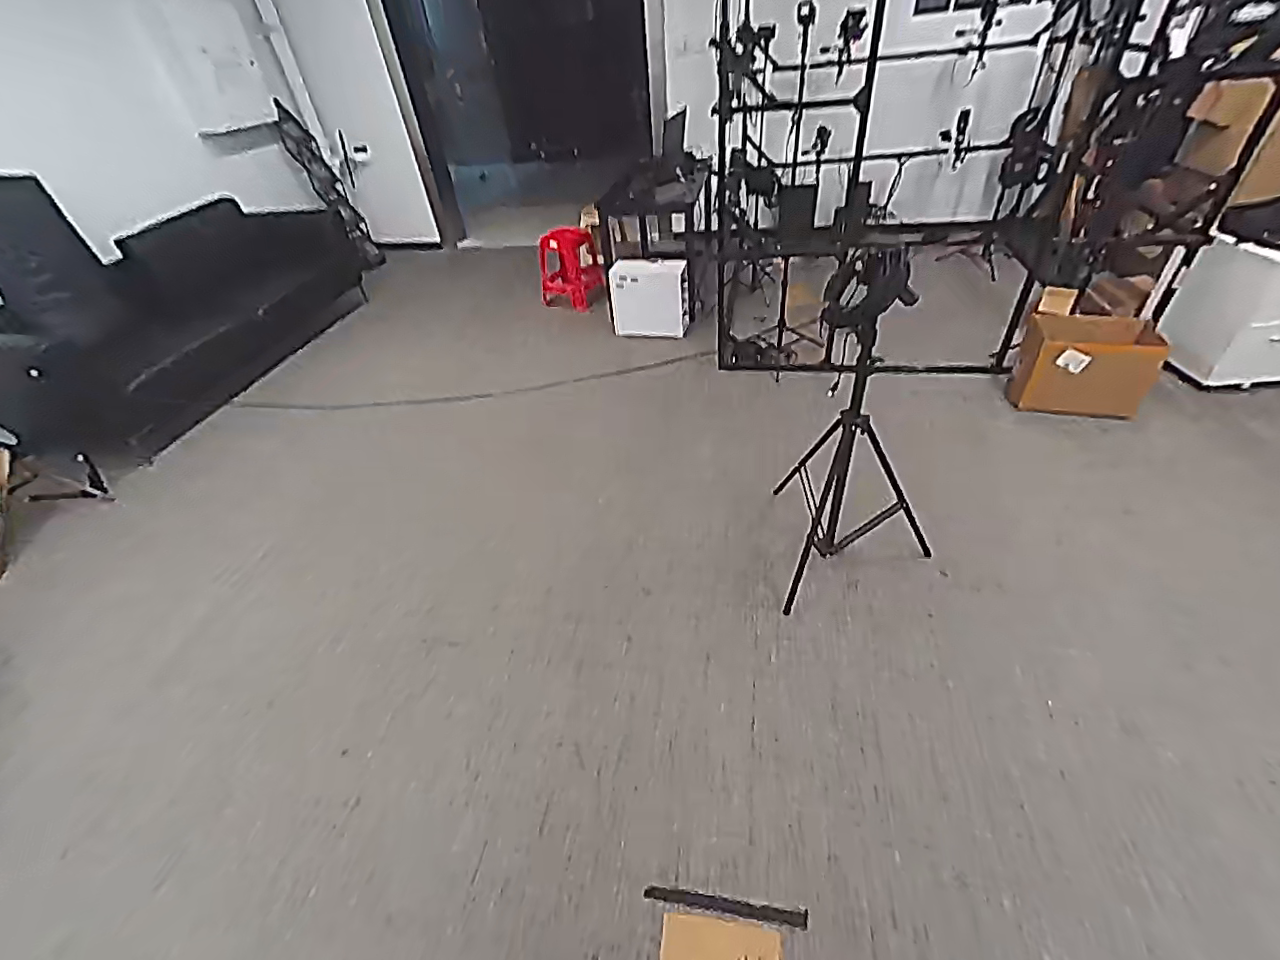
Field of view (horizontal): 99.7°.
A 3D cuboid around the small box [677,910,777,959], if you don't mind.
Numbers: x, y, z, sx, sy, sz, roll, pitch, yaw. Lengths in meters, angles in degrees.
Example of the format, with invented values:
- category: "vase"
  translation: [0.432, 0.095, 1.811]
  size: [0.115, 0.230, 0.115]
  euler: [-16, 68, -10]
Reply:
- category: "small box"
  translation: [0.142, 0.877, 0.921]
  size: [0.168, 0.176, 0.179]
  euler: [3, 42, 12]
